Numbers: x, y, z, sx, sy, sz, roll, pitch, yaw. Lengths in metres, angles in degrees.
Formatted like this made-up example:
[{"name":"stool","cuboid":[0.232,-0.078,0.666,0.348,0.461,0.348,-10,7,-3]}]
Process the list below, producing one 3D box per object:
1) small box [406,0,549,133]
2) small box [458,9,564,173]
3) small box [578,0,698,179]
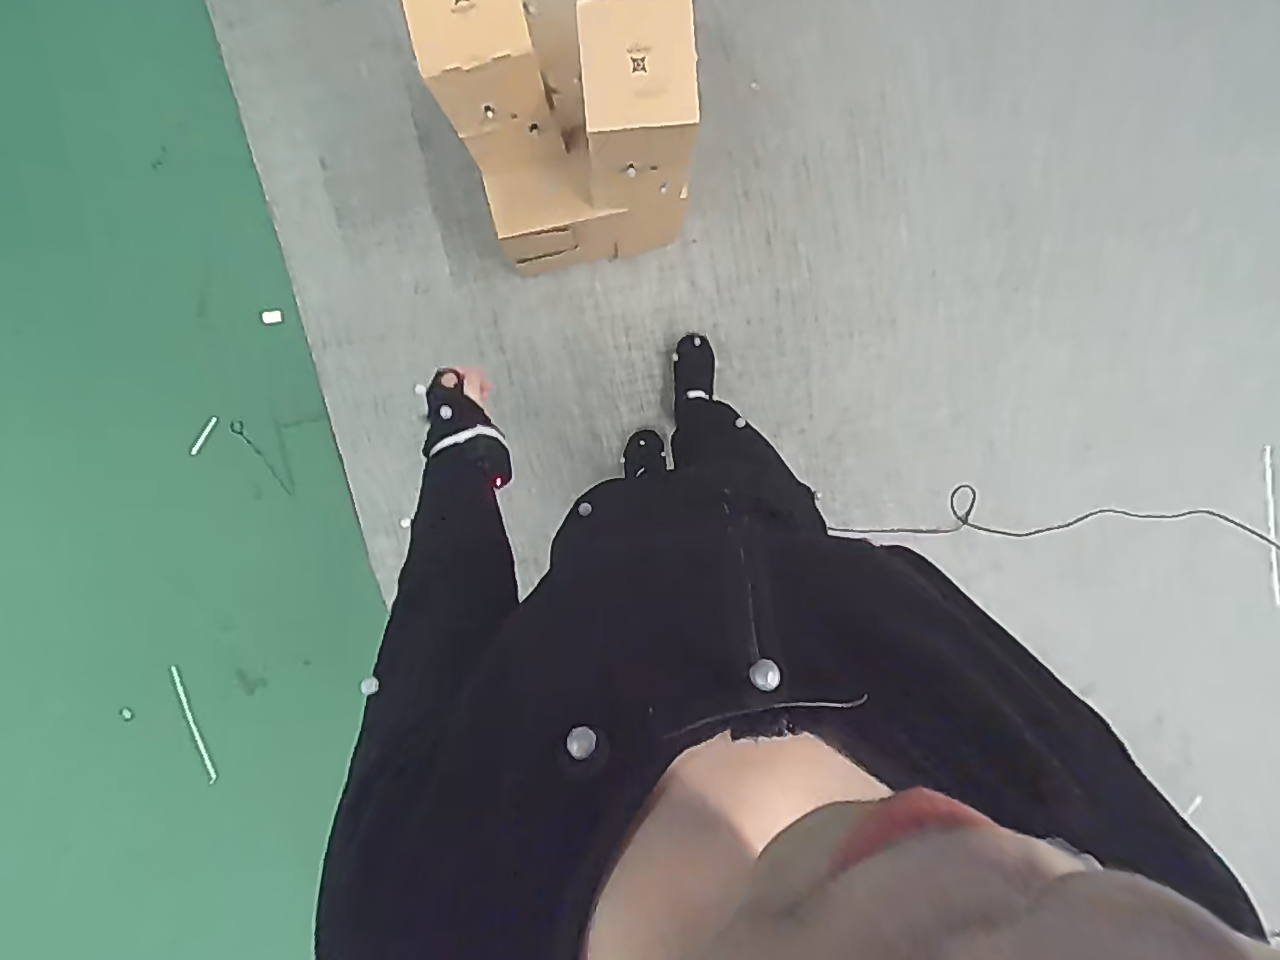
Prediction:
[{"name":"small box","cuboid":[-0.247,-0.682,0.835,0.168,0.176,0.179,-12,97,1]},{"name":"small box","cuboid":[-0.245,-0.703,0.997,0.179,0.176,0.168,-14,96,2]},{"name":"small box","cuboid":[-0.004,-0.602,0.846,0.168,0.176,0.179,-4,98,0]}]
